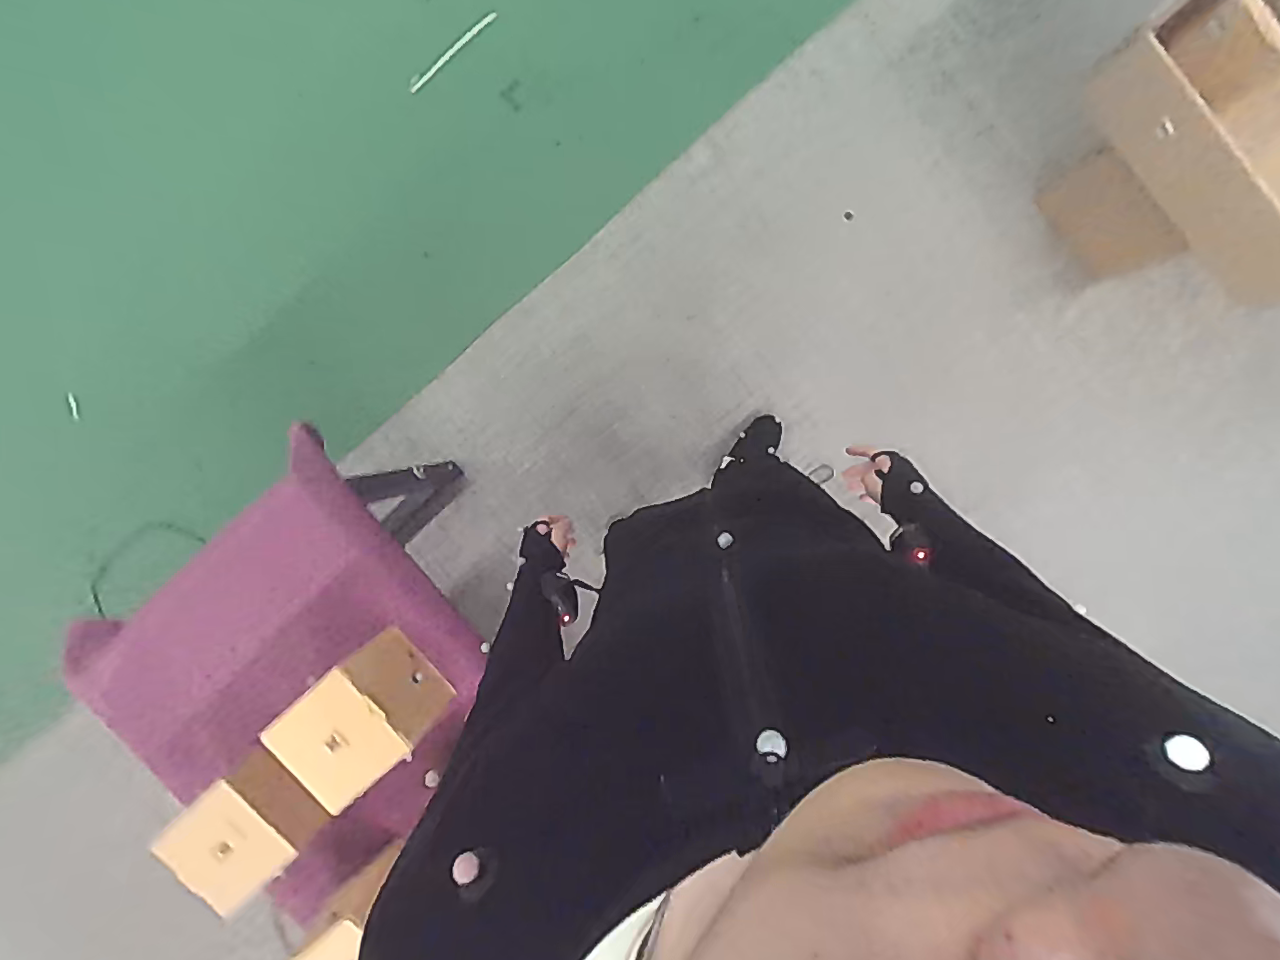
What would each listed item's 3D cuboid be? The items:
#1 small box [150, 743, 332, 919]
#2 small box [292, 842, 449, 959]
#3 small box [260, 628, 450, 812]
[{"bbox_3d":[-0.636,0.559,0.906,0.179,0.176,0.168,-43,93,4],"label":"small box"},{"bbox_3d":[-0.449,0.774,0.917,0.179,0.176,0.168,-42,92,6],"label":"small box"},{"bbox_3d":[-0.447,0.378,0.879,0.179,0.176,0.168,-42,92,6],"label":"small box"}]
